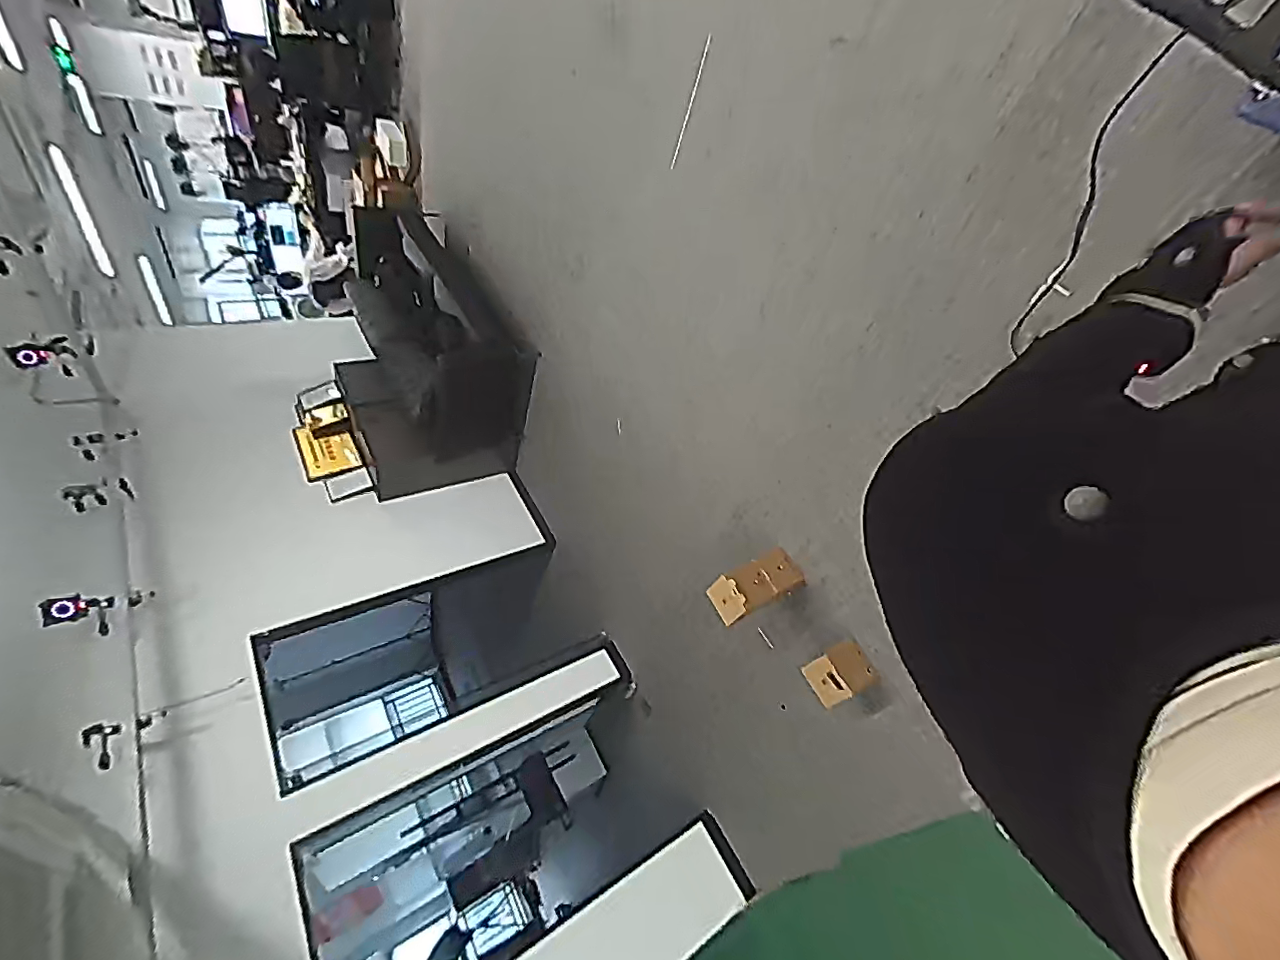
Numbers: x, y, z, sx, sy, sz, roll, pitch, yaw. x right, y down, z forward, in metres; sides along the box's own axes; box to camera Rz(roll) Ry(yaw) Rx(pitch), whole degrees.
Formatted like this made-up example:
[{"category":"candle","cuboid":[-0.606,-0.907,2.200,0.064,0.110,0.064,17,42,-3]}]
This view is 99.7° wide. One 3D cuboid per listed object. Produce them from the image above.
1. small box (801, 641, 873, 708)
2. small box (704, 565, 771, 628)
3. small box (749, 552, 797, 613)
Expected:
[{"category":"small box","cuboid":[0.765,0.746,2.082,0.168,0.176,0.179,59,145,25]},{"category":"small box","cuboid":[0.395,0.469,2.190,0.168,0.176,0.179,59,144,22]},{"category":"small box","cuboid":[0.532,0.427,2.272,0.168,0.176,0.179,57,142,26]}]
